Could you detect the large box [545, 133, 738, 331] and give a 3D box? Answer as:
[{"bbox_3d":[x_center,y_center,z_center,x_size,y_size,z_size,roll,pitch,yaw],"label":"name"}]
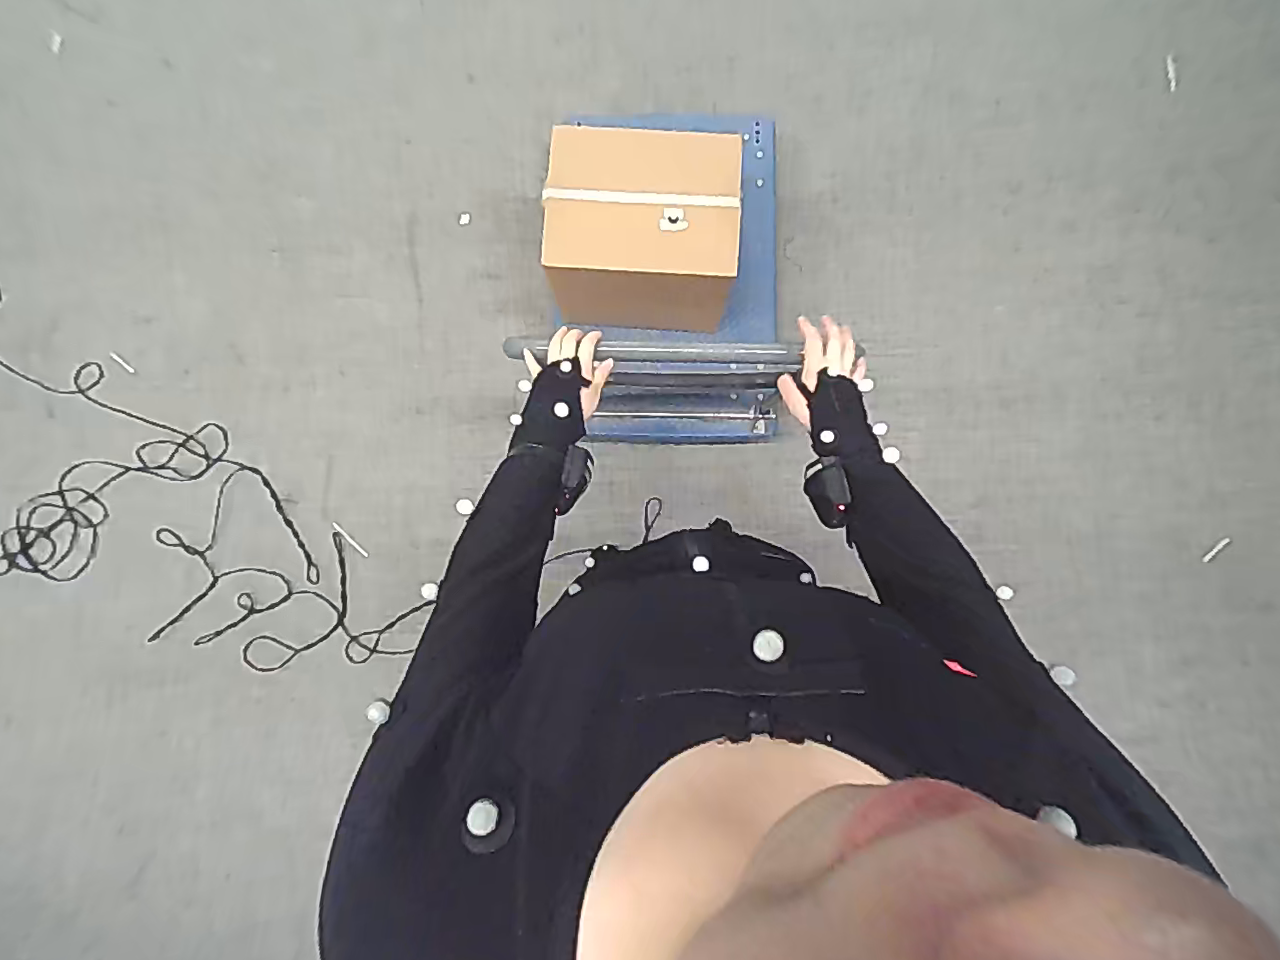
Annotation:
[{"bbox_3d":[0.003,-0.565,1.285,0.408,0.320,0.320,3,84,0],"label":"large box"}]
